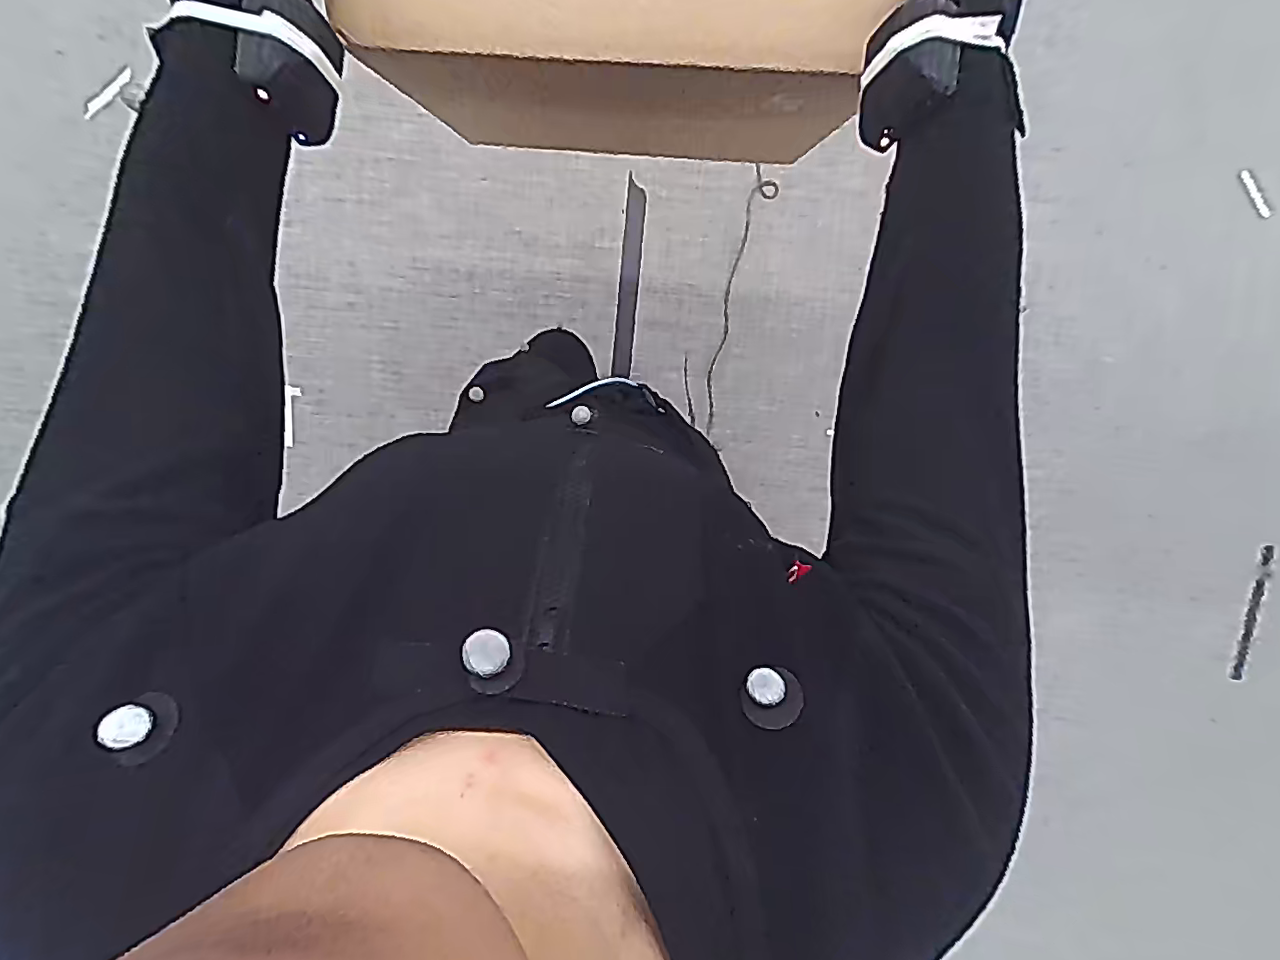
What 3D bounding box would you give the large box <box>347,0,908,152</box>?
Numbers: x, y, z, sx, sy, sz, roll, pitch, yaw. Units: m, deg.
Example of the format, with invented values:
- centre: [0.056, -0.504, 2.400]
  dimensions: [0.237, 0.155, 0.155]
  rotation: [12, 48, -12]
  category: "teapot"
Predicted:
- centre: [-0.006, -0.503, 0.479]
  dimensions: [0.408, 0.320, 0.320]
  rotation: [2, 111, -1]
  category: "large box"
